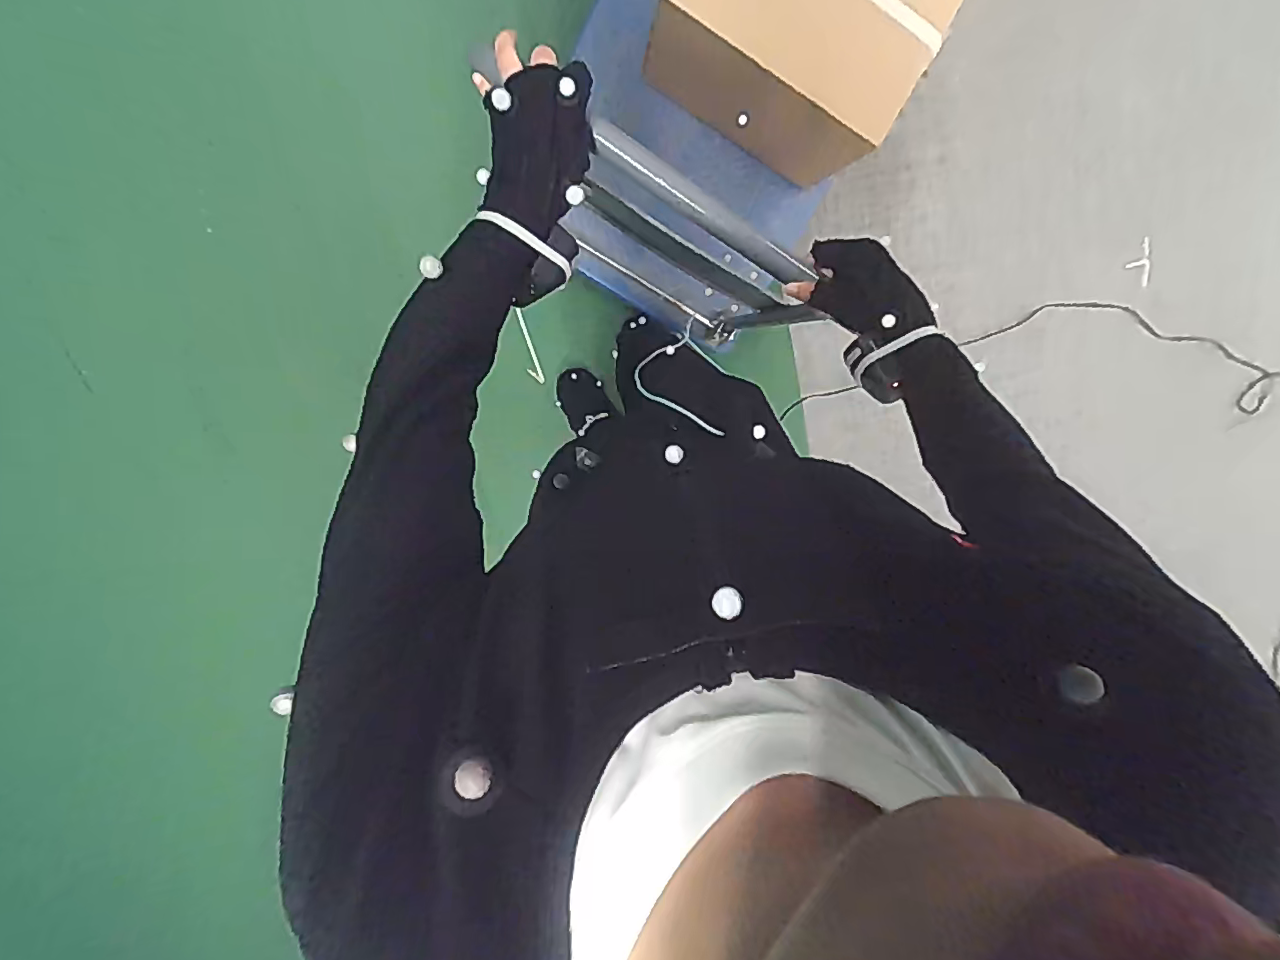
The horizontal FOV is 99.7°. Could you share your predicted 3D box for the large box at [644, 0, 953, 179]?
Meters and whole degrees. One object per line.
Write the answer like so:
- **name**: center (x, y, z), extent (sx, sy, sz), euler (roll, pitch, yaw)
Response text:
- **large box**: center (0.259, -0.795, 0.926), extent (0.408, 0.320, 0.320), euler (26, 103, -11)
